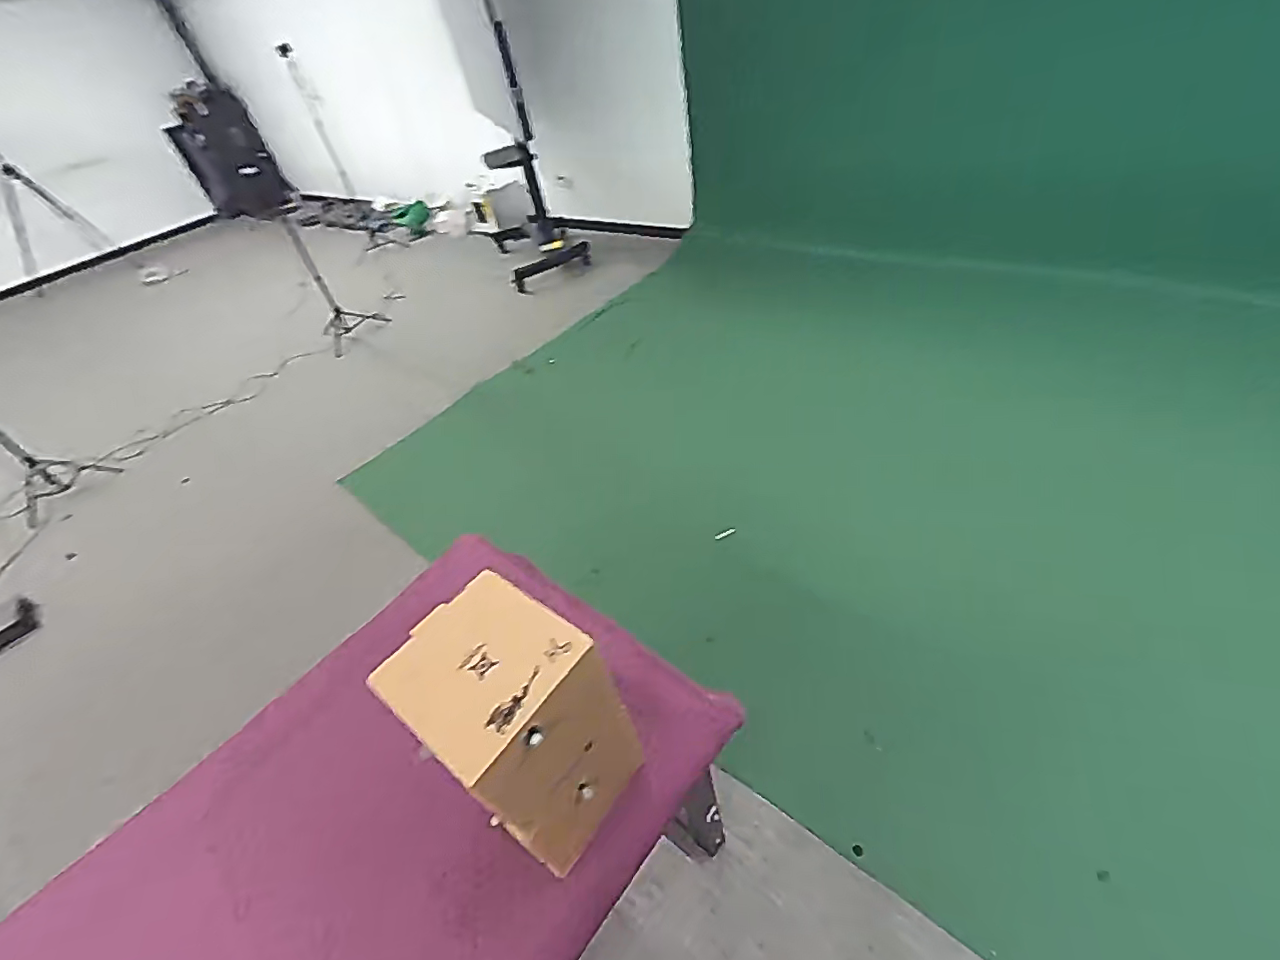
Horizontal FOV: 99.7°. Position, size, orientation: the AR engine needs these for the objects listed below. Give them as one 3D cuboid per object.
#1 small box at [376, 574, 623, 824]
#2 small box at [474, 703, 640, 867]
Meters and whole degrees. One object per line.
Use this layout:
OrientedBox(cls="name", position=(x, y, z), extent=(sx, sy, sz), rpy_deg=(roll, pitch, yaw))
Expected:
OrientedBox(cls="small box", position=(-0.146, 0.244, 0.605), extent=(0.179, 0.176, 0.168), rpy_deg=(22, 56, 33))
OrientedBox(cls="small box", position=(-0.115, 0.362, 0.715), extent=(0.168, 0.176, 0.179), rpy_deg=(22, 55, 32))
